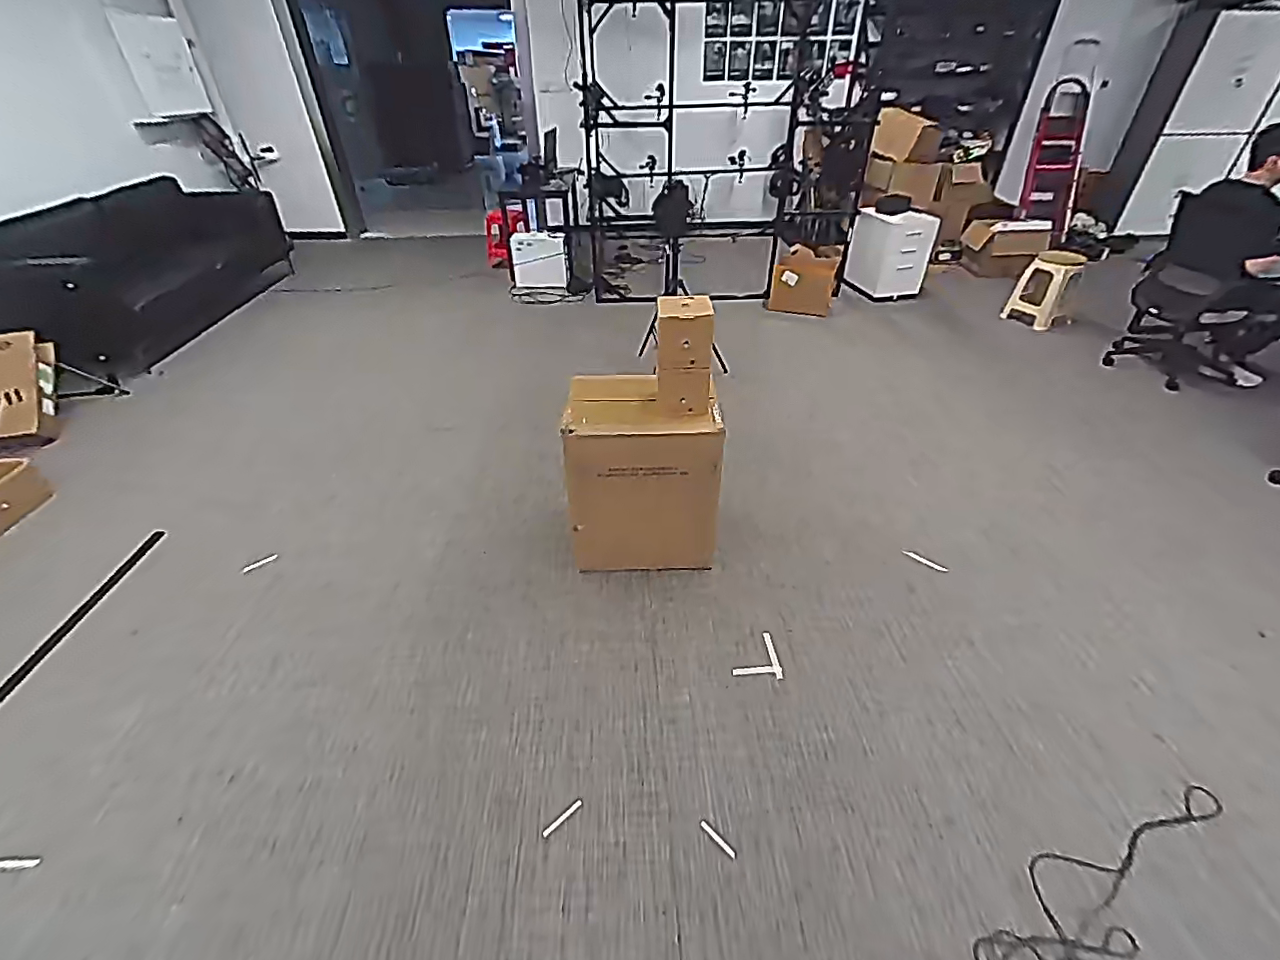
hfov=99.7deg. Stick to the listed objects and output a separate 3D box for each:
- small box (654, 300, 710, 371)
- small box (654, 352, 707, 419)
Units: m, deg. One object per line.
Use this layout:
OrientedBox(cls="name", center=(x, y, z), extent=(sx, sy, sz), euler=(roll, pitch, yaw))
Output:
OrientedBox(cls="small box", center=(0.130, -0.452, 1.708), extent=(0.168, 0.176, 0.179), euler=(-2, 38, 1))
OrientedBox(cls="small box", center=(0.130, -0.319, 1.804), extent=(0.168, 0.176, 0.179), euler=(-3, 38, 0))
